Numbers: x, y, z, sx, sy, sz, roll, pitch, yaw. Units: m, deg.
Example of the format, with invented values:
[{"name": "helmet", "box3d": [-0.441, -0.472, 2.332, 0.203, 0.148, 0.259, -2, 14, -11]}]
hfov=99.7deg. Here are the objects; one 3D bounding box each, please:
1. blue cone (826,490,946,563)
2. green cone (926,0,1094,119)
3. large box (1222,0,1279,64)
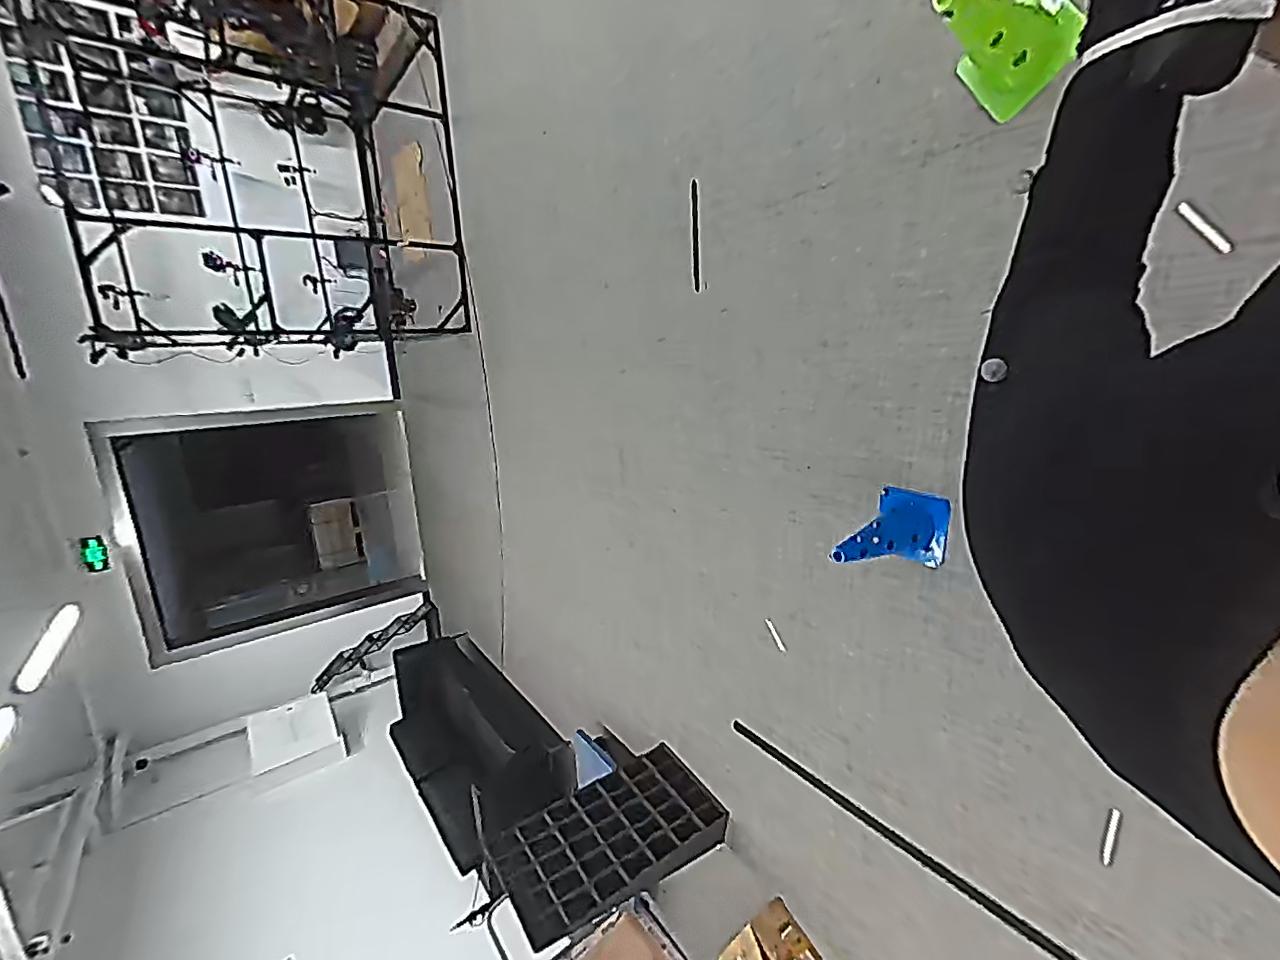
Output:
[{"name": "blue cone", "box3d": [0.644, 0.160, 1.465, 0.192, 0.380, 0.193, 21, 116, 51]}, {"name": "green cone", "box3d": [0.682, -0.900, 1.070, 0.202, 0.368, 0.200, -47, 61, 51]}, {"name": "large box", "box3d": [0.579, -0.446, 0.223, 0.408, 0.320, 0.320, 17, 122, 50]}]
